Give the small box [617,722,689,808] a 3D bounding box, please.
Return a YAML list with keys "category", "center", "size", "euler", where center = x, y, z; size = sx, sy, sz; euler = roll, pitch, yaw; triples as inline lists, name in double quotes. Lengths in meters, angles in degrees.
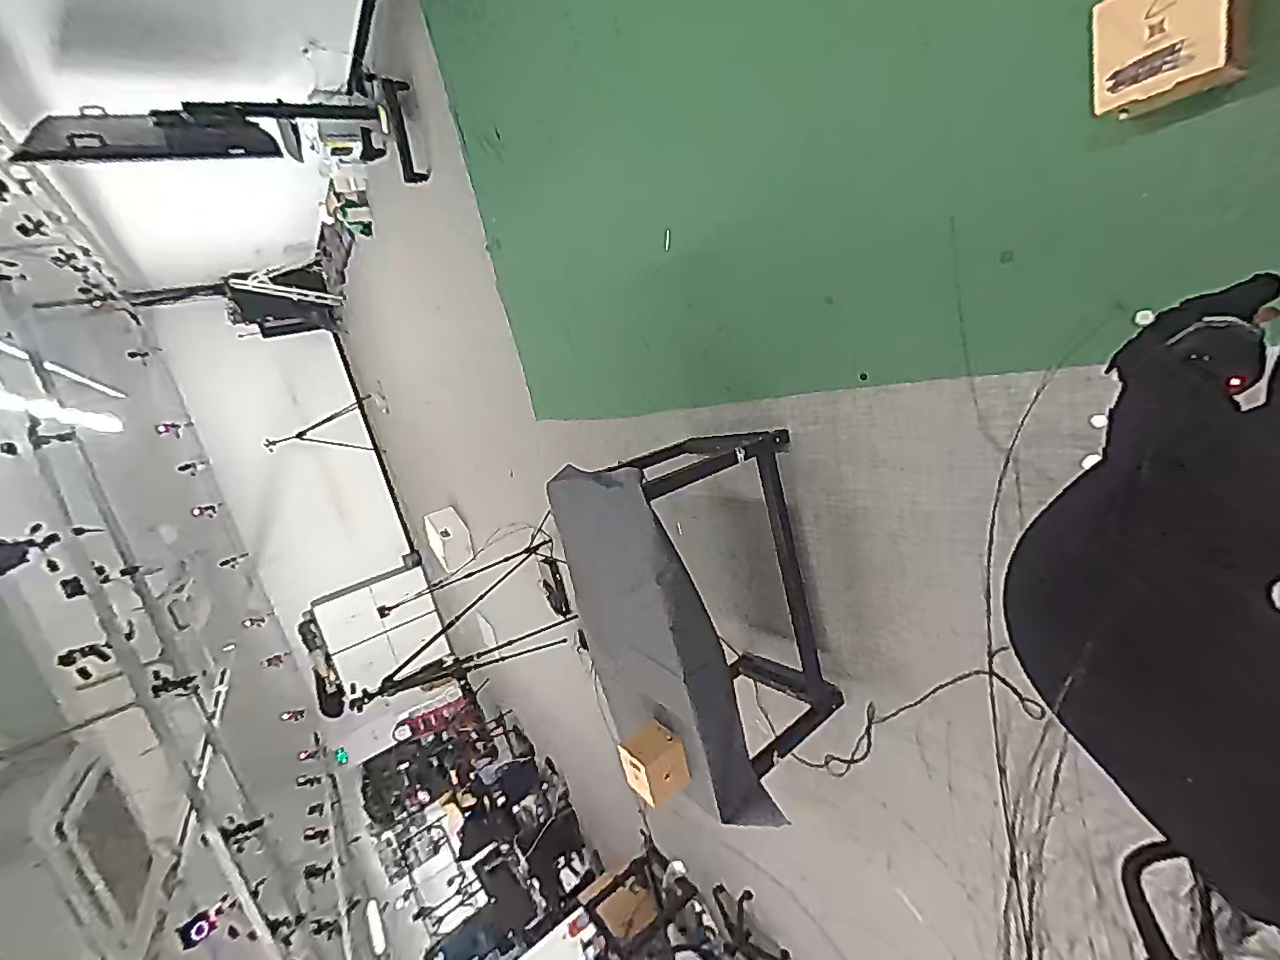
- category: "small box"
  center: [0.048, 0.994, 1.905]
  size: [0.168, 0.176, 0.179]
  euler: [7, 114, 55]
